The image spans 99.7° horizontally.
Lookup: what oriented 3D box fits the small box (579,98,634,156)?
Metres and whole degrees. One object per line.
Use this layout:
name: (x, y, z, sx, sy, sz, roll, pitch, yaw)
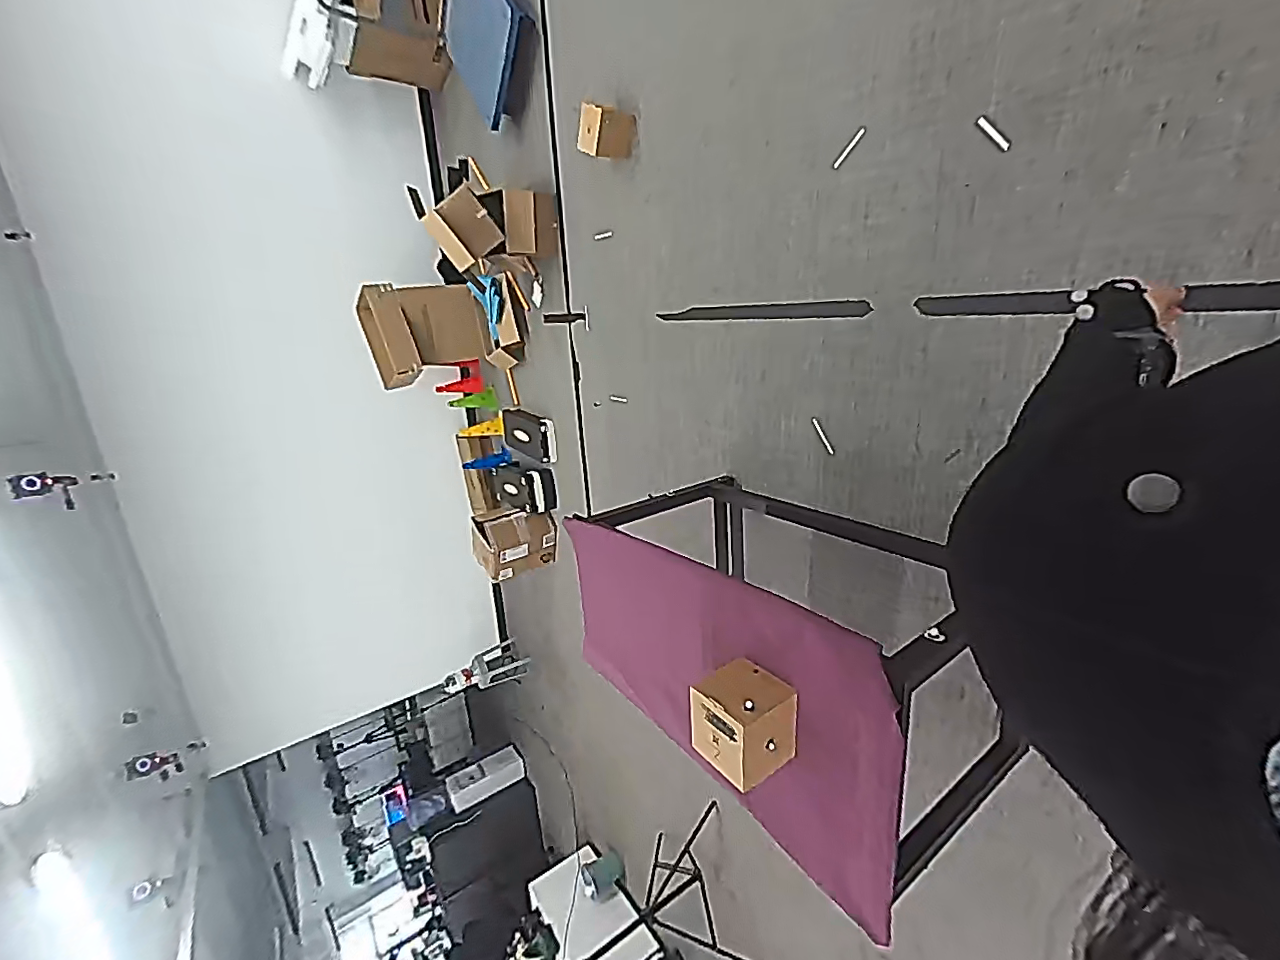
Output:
small box: (-0.144, -1.516, 2.327, 0.168, 0.176, 0.179, 48, 138, 37)
